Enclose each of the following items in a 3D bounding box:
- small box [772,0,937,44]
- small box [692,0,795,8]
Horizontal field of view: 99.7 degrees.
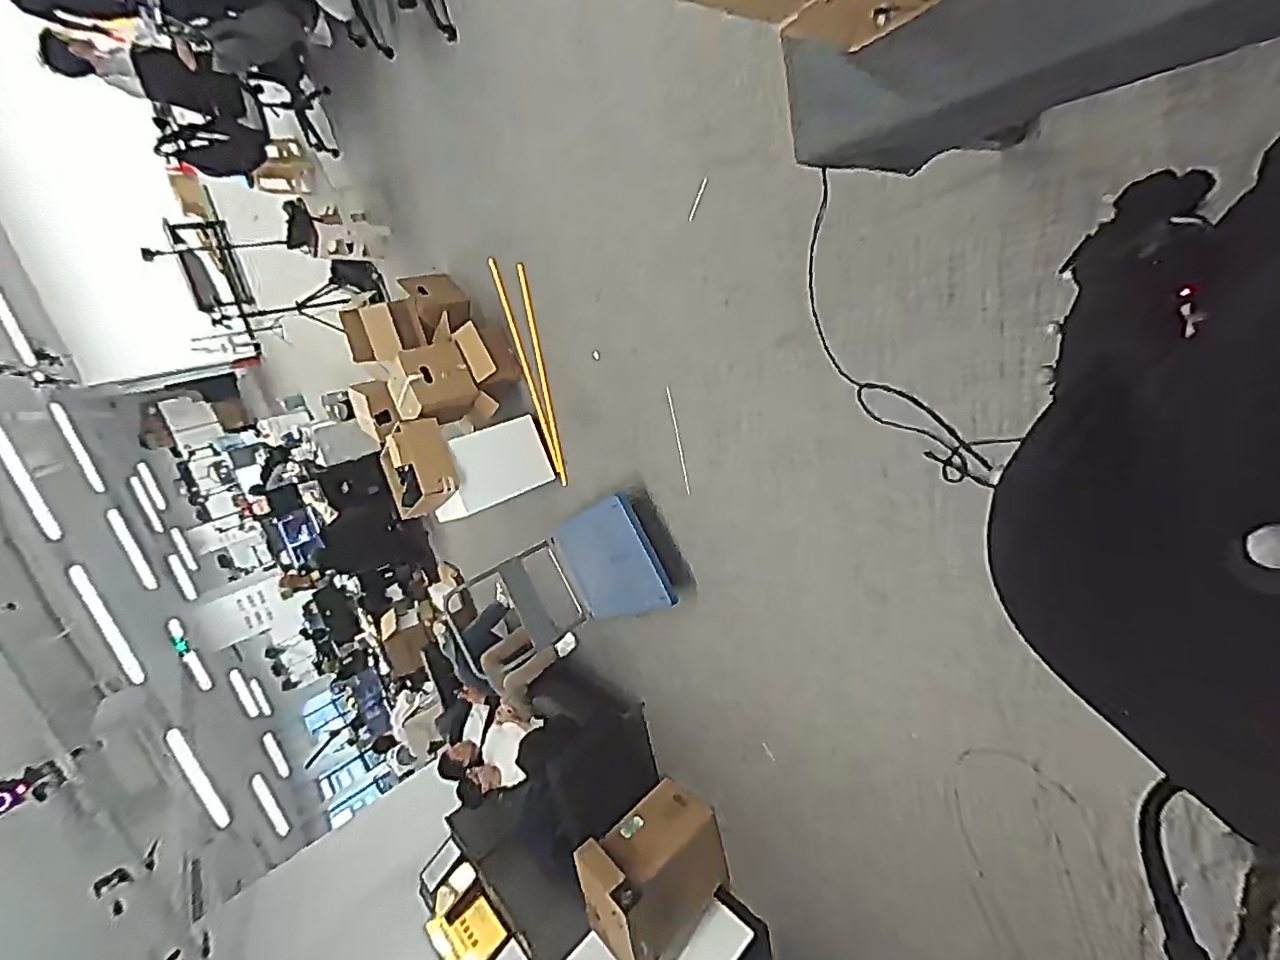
[{"bbox_3d":[0.240,-0.593,0.551,0.168,0.176,0.179,6,115,49],"label":"small box"},{"bbox_3d":[0.122,-0.540,0.452,0.168,0.176,0.179,6,115,48],"label":"small box"}]
